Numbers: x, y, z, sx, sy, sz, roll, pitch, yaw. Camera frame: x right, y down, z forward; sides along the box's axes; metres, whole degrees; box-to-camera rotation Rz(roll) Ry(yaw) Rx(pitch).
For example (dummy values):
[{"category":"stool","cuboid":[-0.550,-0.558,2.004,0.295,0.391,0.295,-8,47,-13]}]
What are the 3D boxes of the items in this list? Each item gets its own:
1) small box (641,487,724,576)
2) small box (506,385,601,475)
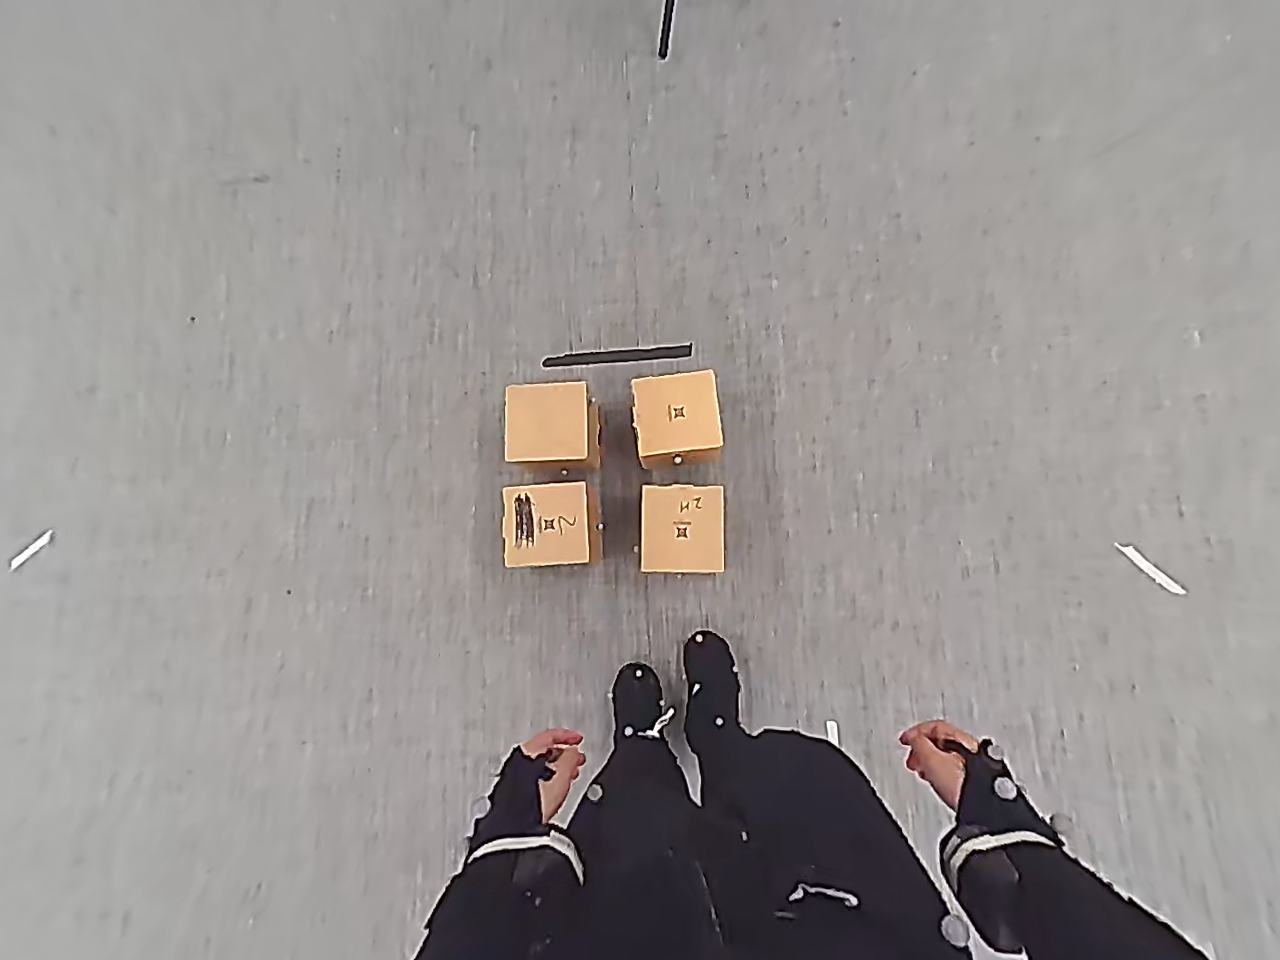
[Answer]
[{"category":"small box","cuboid":[0.091,0.111,1.156,0.168,0.176,0.179,0,82,3]},{"category":"small box","cuboid":[-0.187,-0.107,1.205,0.179,0.176,0.168,-2,81,4]}]
